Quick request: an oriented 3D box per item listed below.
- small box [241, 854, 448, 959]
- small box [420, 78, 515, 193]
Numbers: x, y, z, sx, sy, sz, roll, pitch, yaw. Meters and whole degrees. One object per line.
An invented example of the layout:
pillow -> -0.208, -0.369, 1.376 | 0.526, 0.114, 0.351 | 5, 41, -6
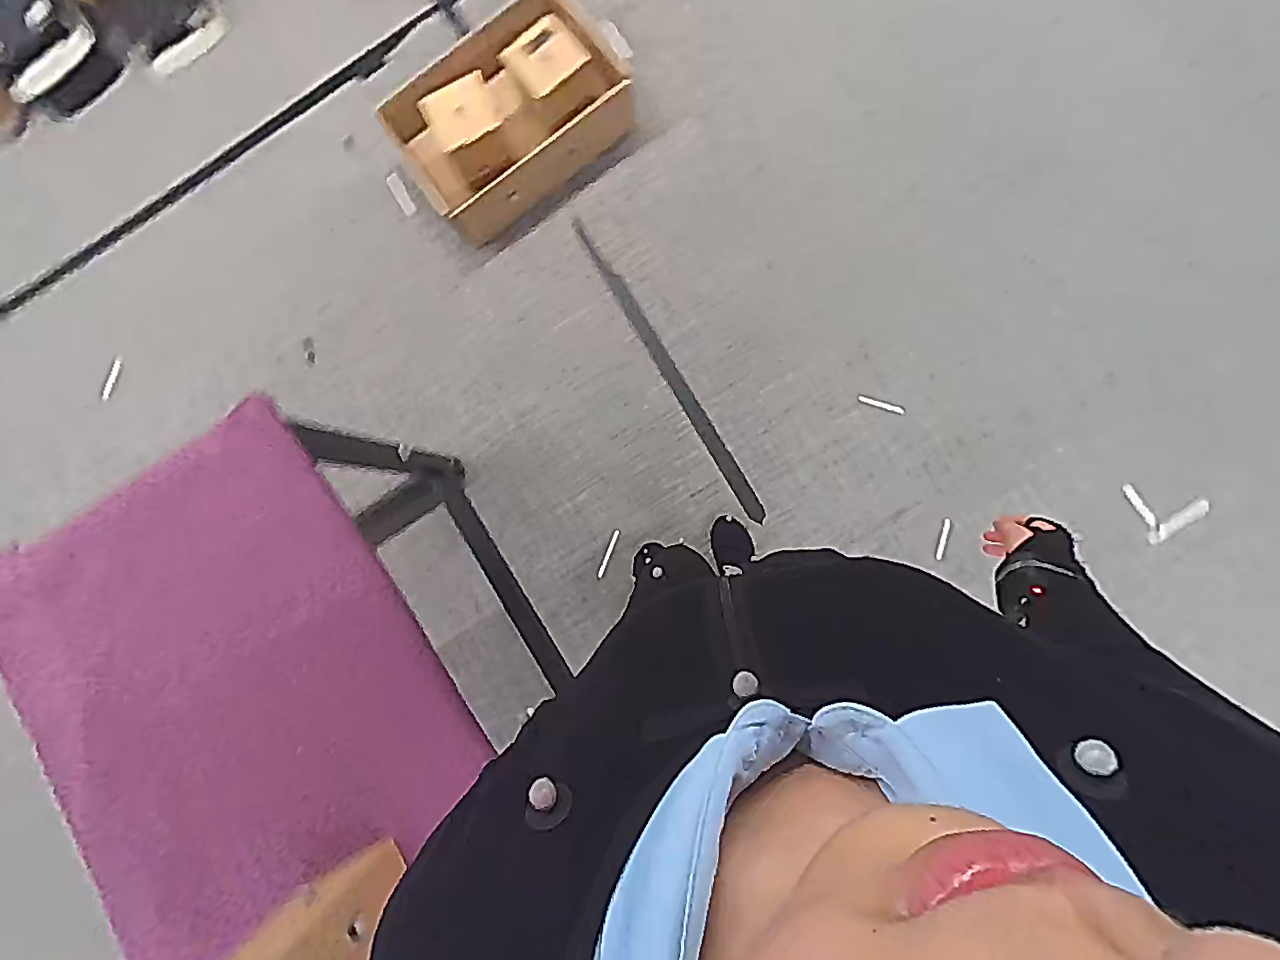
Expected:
small box -> -0.388, 0.635, 0.703 | 0.168, 0.176, 0.179 | -32, 84, 3
small box -> -0.474, -0.954, 1.510 | 0.168, 0.176, 0.179 | -27, 83, 2
